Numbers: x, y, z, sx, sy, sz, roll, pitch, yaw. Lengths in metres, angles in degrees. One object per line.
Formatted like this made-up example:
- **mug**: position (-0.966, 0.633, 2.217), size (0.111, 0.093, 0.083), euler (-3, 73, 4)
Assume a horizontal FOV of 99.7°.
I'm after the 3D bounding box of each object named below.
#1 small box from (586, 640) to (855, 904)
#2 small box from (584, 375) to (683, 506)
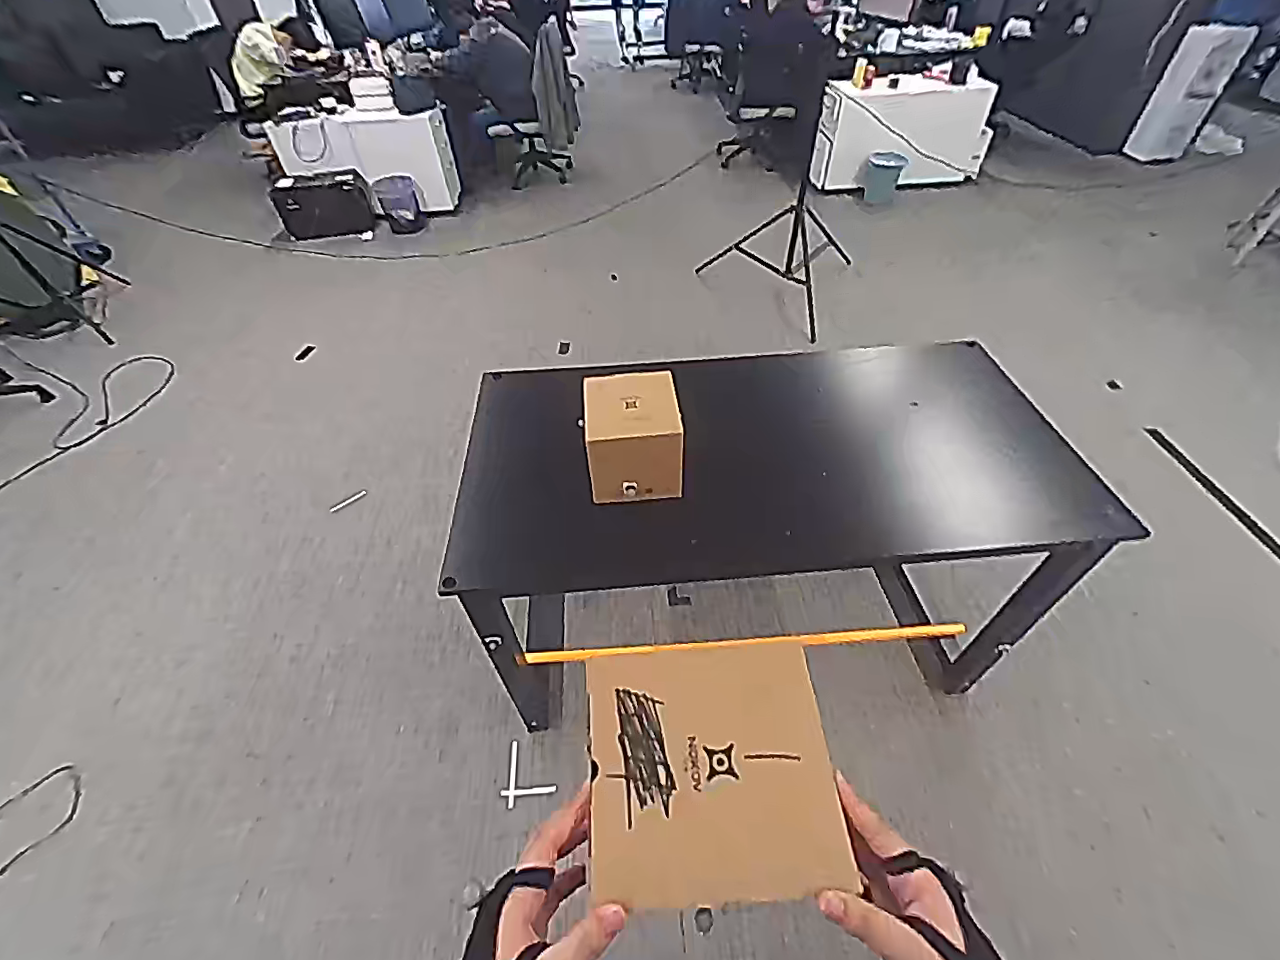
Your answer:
- **small box**: position (0.051, 0.249, 0.454), size (0.179, 0.176, 0.168), euler (-4, 54, -1)
- **small box**: position (-0.014, -0.073, 1.013), size (0.168, 0.176, 0.179), euler (-6, 48, -2)
